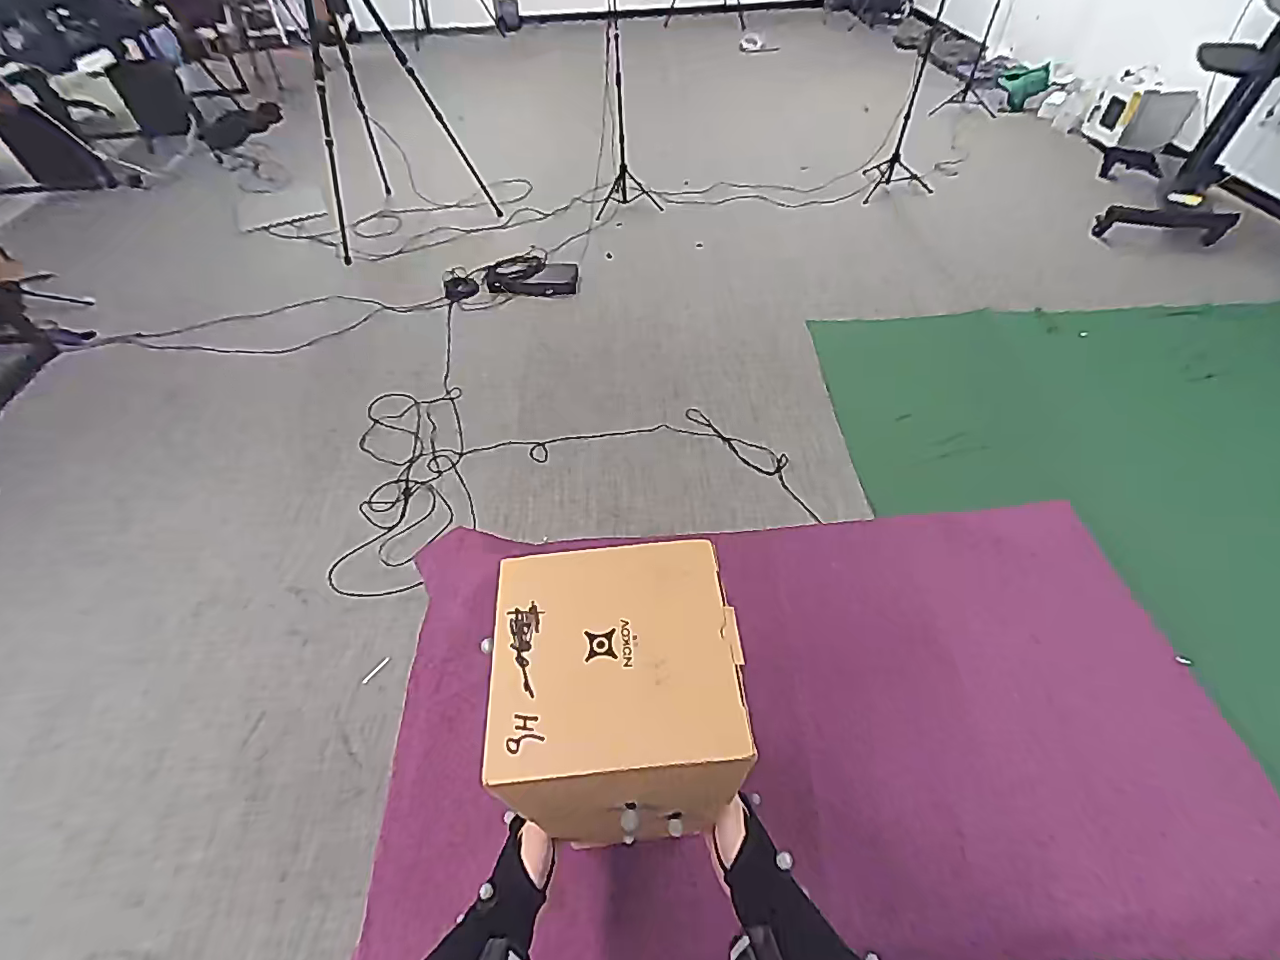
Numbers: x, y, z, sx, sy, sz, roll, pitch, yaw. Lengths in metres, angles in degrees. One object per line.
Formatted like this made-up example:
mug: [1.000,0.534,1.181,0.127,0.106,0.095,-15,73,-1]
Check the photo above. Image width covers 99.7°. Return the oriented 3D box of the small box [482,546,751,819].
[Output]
small box: [-0.018,0.174,0.457,0.179,0.176,0.168,-4,49,-1]

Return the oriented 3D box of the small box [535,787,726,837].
small box: [-0.012,0.276,0.586,0.179,0.176,0.168,-5,50,0]
